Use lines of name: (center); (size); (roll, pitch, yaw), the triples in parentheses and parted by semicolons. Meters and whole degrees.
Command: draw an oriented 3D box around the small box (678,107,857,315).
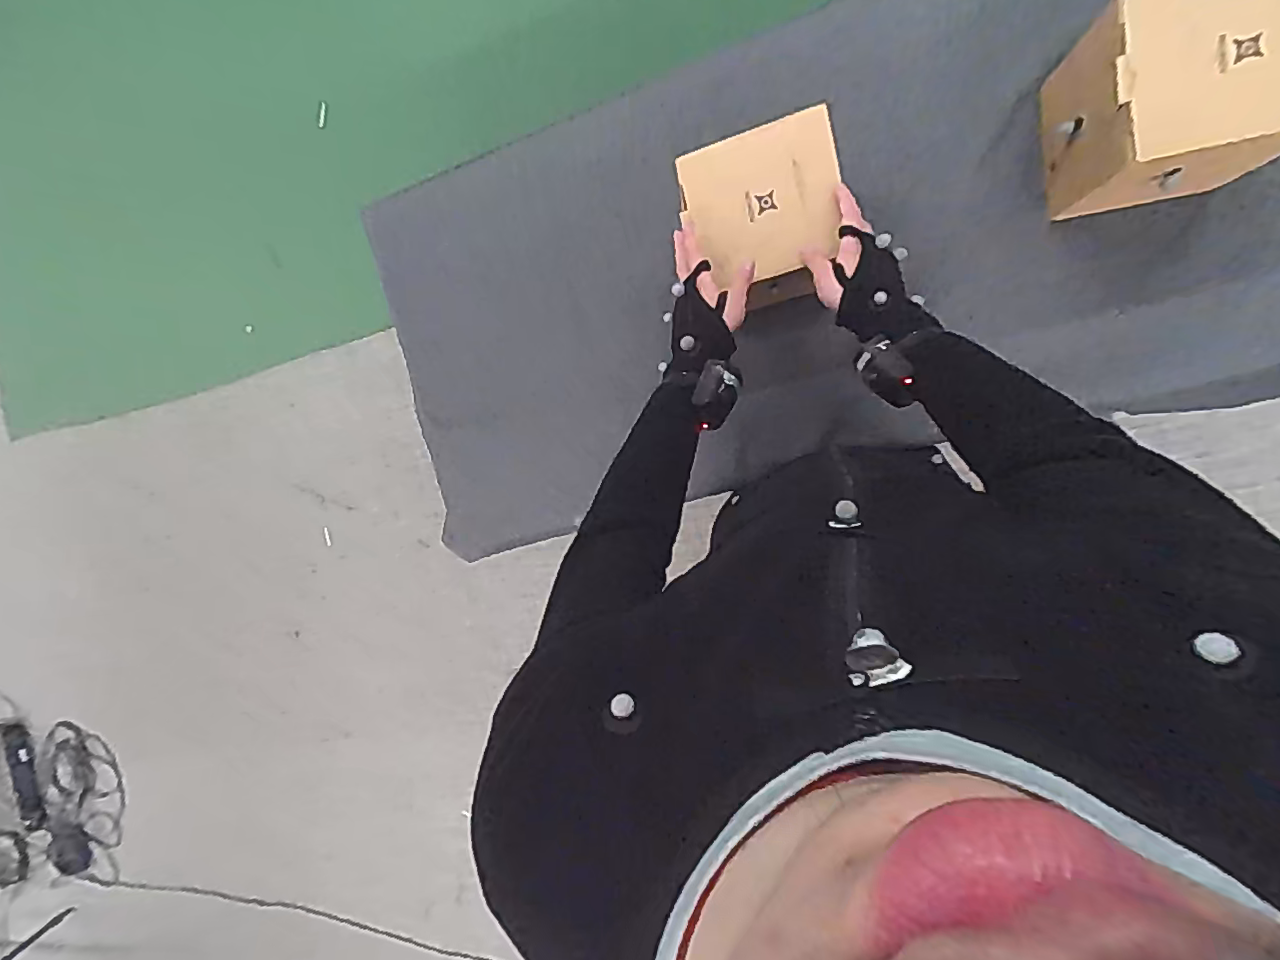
small box: (0.162, -0.325, 0.698); (0.179, 0.176, 0.168); (-13, 95, 13)

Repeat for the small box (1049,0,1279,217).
small box: (0.573, -0.407, 0.582); (0.179, 0.176, 0.168); (-6, 96, 15)
